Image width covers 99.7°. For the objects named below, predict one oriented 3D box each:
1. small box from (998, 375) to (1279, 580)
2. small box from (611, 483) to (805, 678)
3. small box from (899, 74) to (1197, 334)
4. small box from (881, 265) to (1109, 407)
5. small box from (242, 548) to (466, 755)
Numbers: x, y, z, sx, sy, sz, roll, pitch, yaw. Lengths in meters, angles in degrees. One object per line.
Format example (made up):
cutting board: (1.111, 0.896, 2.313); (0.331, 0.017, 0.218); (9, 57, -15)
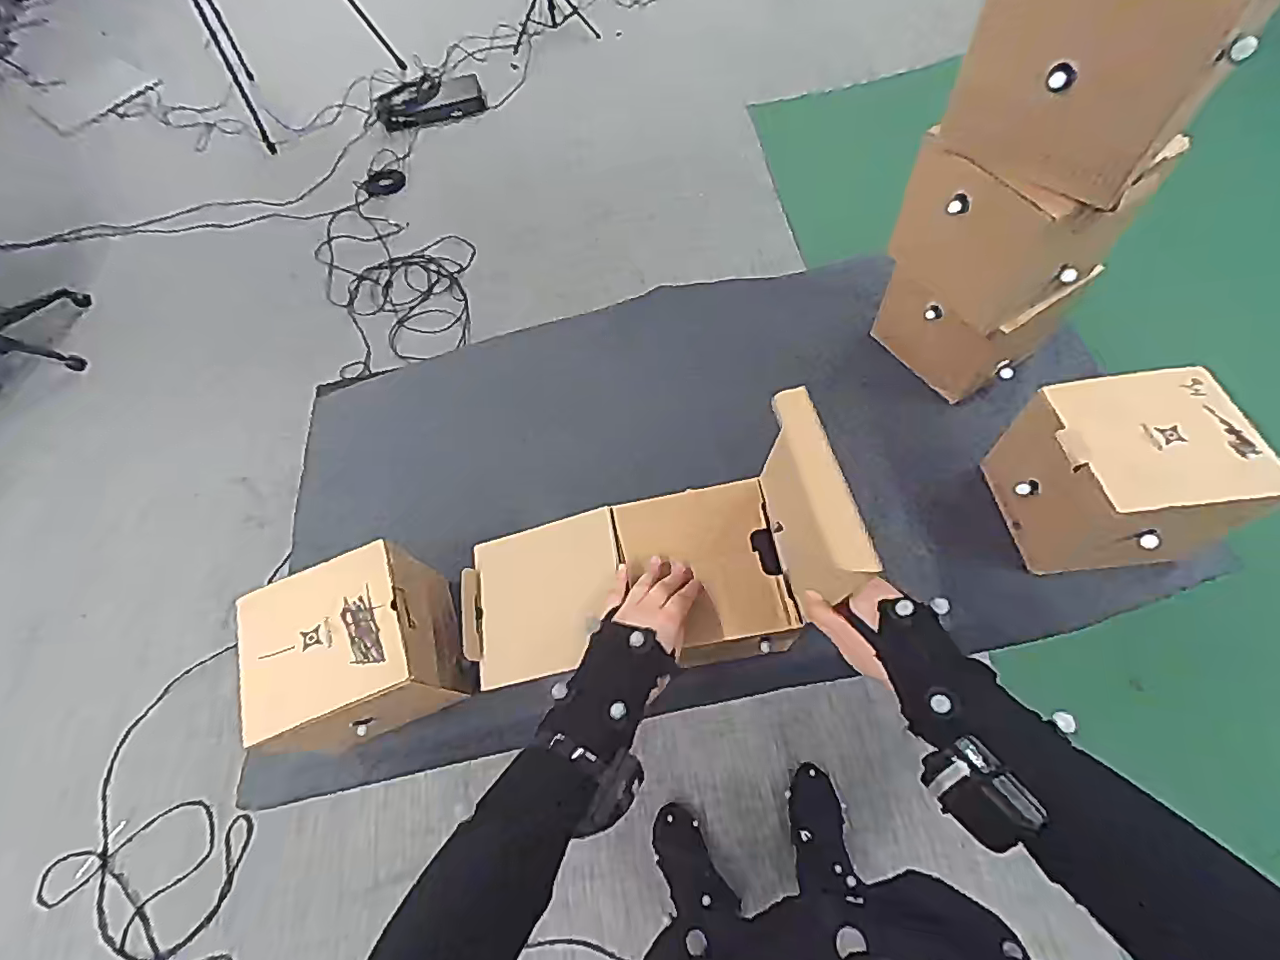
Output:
small box: (0.550, 0.006, 0.621); (0.179, 0.176, 0.168); (-7, 59, 5)
small box: (0.075, 0.126, 0.630); (0.179, 0.176, 0.168); (-12, 64, 3)
small box: (0.431, -0.303, 0.614); (0.168, 0.176, 0.179); (-29, 64, -4)
small box: (0.474, -0.237, 0.760); (0.168, 0.176, 0.179); (-32, 66, -6)
small box: (-0.324, 0.206, 0.641); (0.179, 0.176, 0.168); (-22, 63, -3)
